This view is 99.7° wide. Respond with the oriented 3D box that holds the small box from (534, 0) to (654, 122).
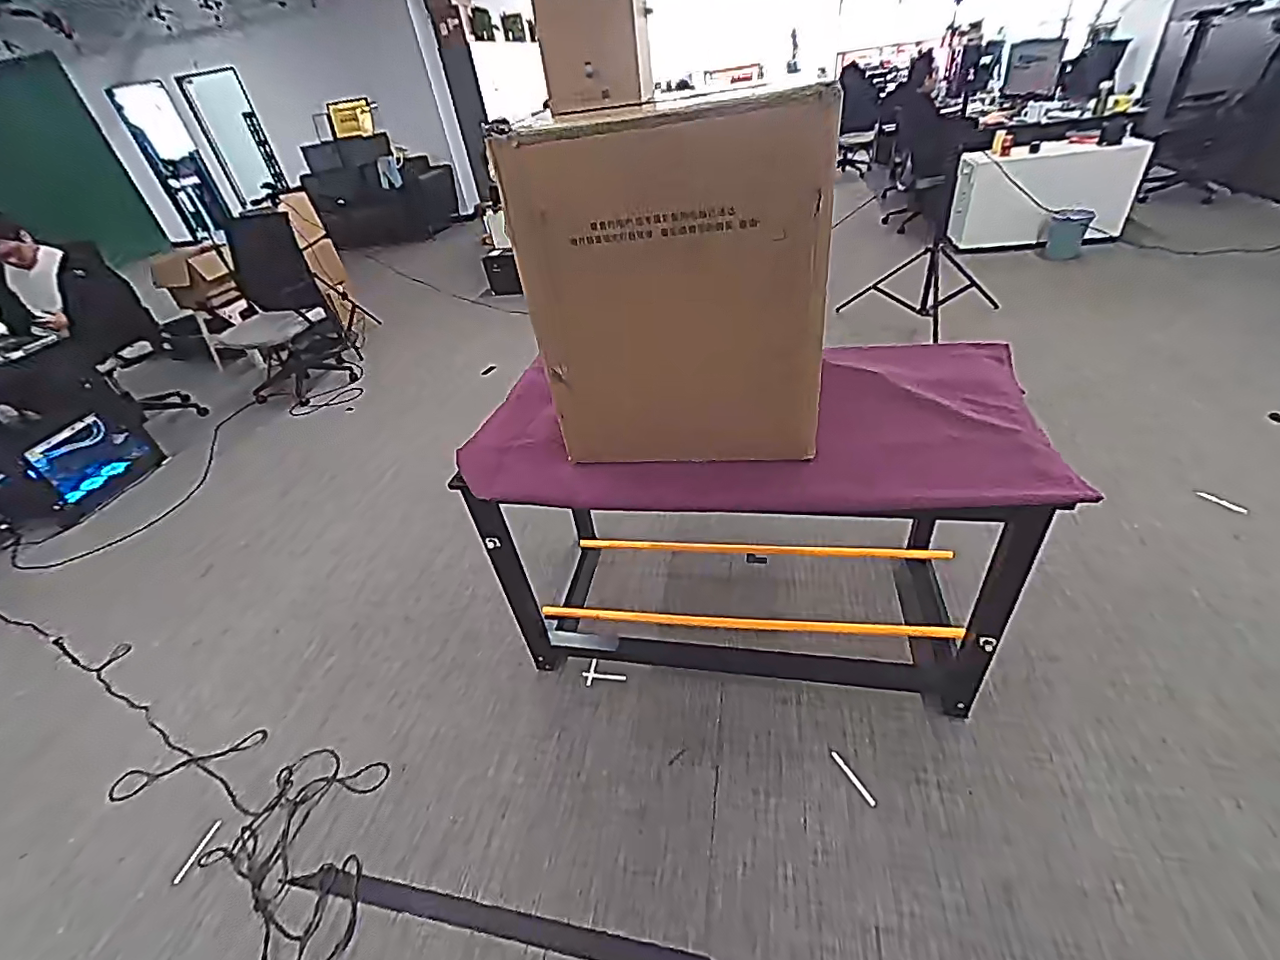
[{"bbox_3d":[-0.071,-0.751,0.966,0.168,0.176,0.179,0,38,12],"label":"small box"}]
